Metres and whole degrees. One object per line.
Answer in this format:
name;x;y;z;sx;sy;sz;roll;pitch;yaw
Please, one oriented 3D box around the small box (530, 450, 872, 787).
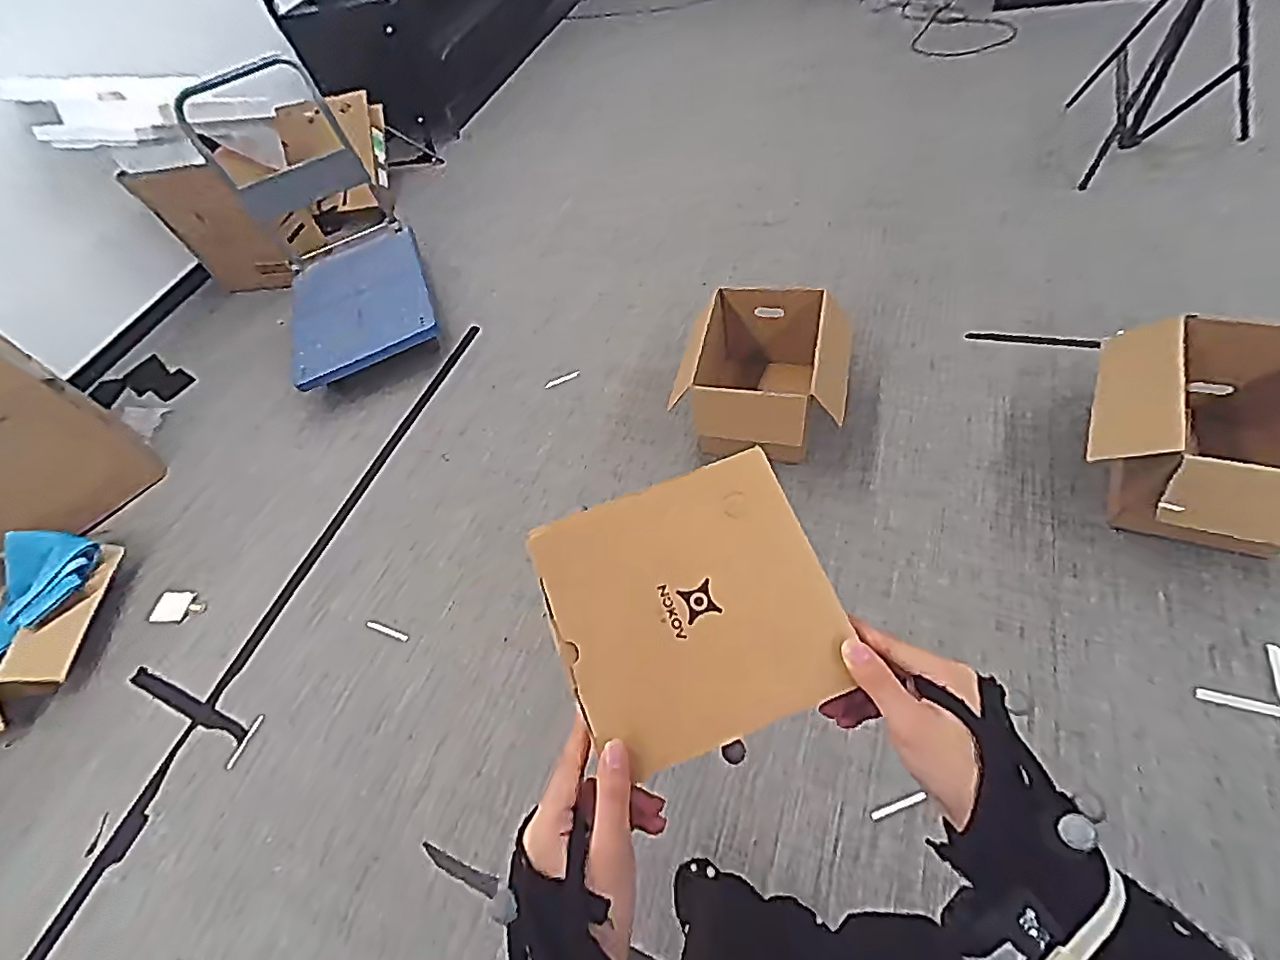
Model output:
small box;0.036;0.103;0.419;0.179;0.176;0.168;-21;71;-4
